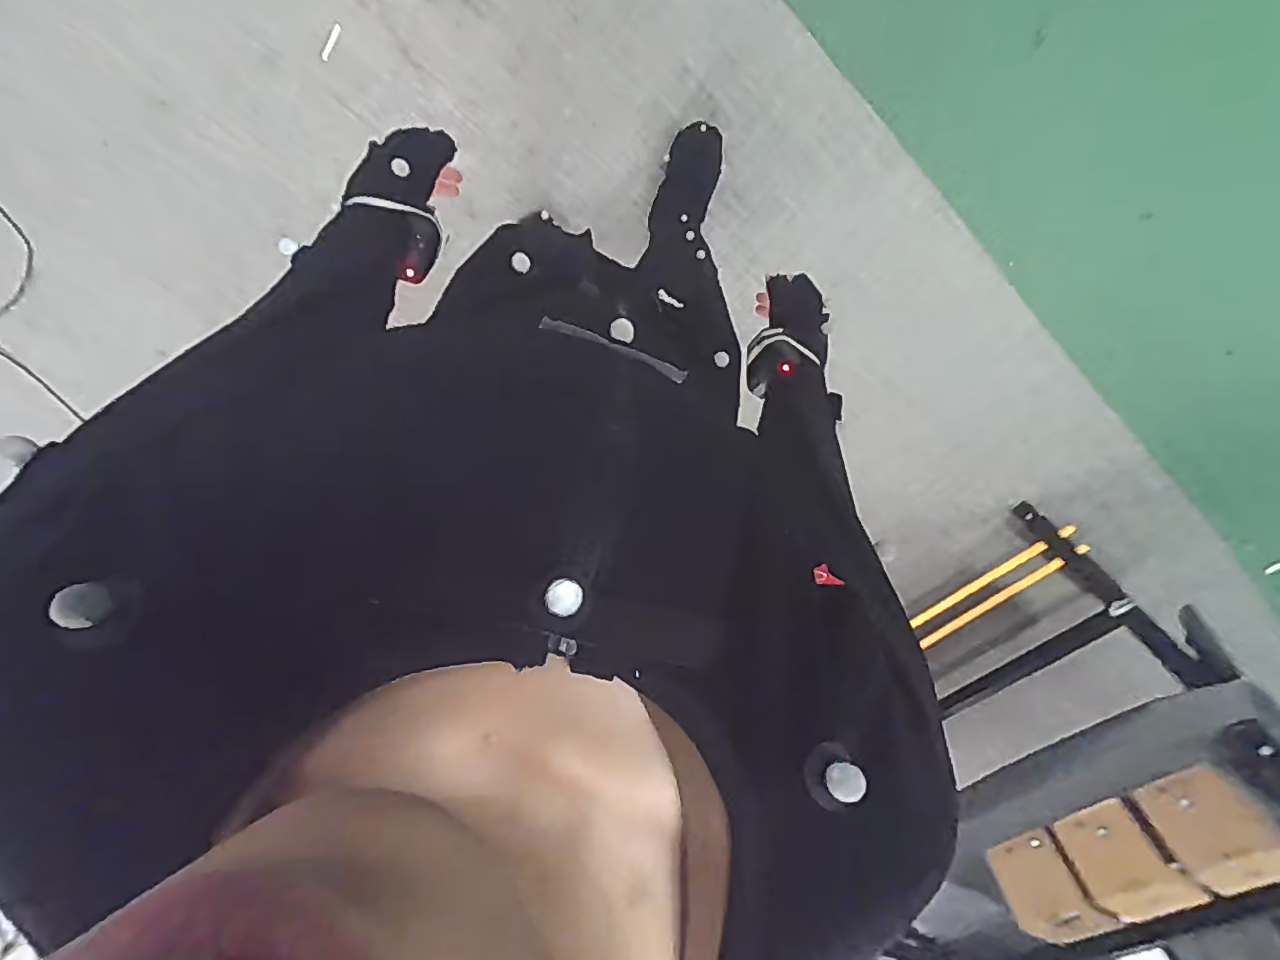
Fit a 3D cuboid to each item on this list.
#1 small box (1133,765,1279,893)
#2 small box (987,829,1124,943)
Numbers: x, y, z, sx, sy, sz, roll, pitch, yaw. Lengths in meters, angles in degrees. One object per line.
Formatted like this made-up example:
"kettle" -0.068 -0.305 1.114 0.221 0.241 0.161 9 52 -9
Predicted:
"small box" 1.229 0.741 1.153 0.179 0.176 0.168 32 118 -19
"small box" 1.001 0.986 1.320 0.179 0.176 0.168 32 118 -20
